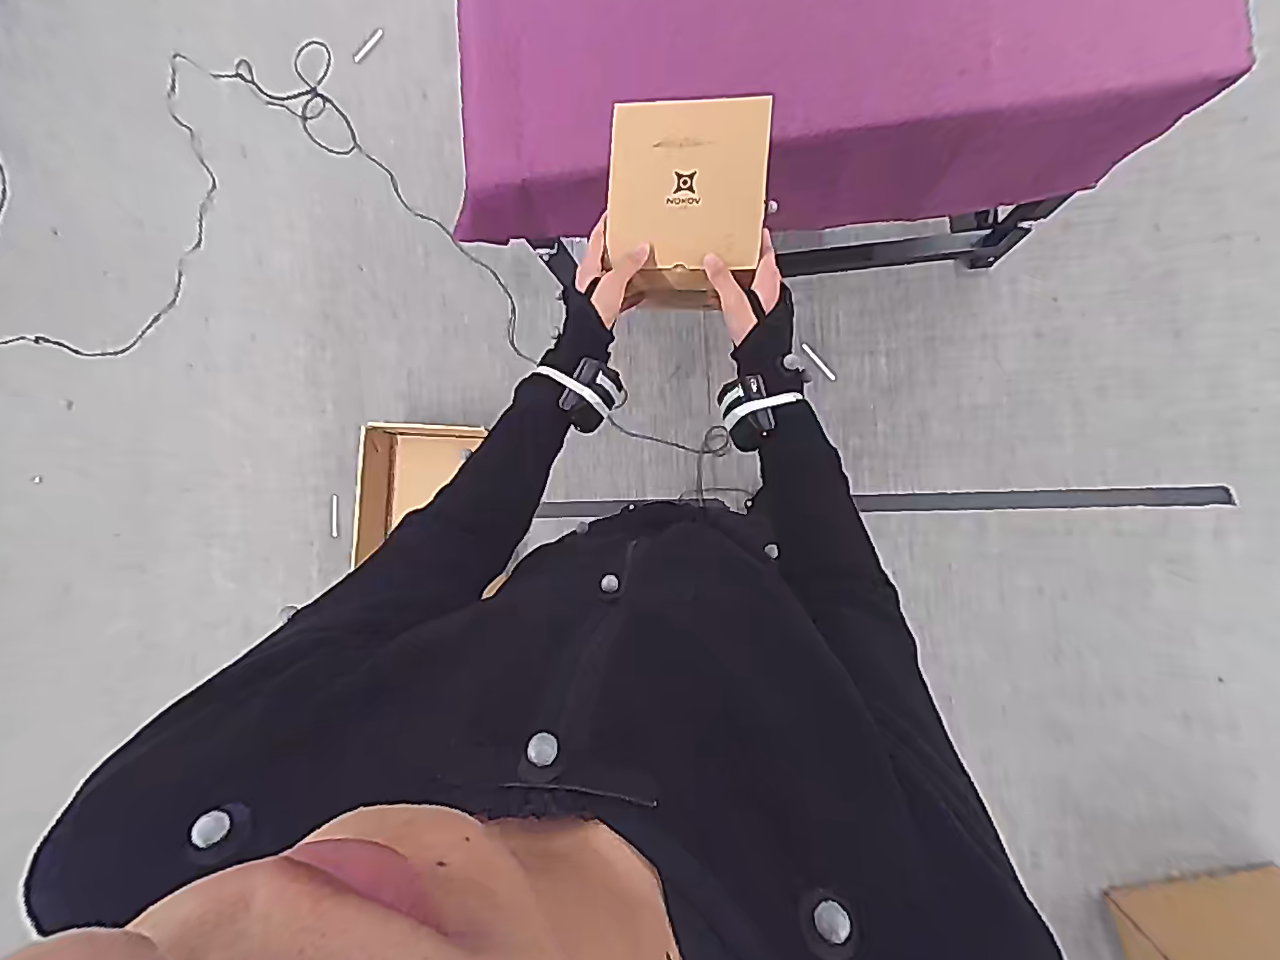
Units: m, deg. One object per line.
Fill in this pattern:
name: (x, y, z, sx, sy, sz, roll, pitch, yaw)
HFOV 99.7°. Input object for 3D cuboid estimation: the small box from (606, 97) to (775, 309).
small box: (0.065, -0.308, 0.638, 0.168, 0.176, 0.179, 5, 94, 10)
